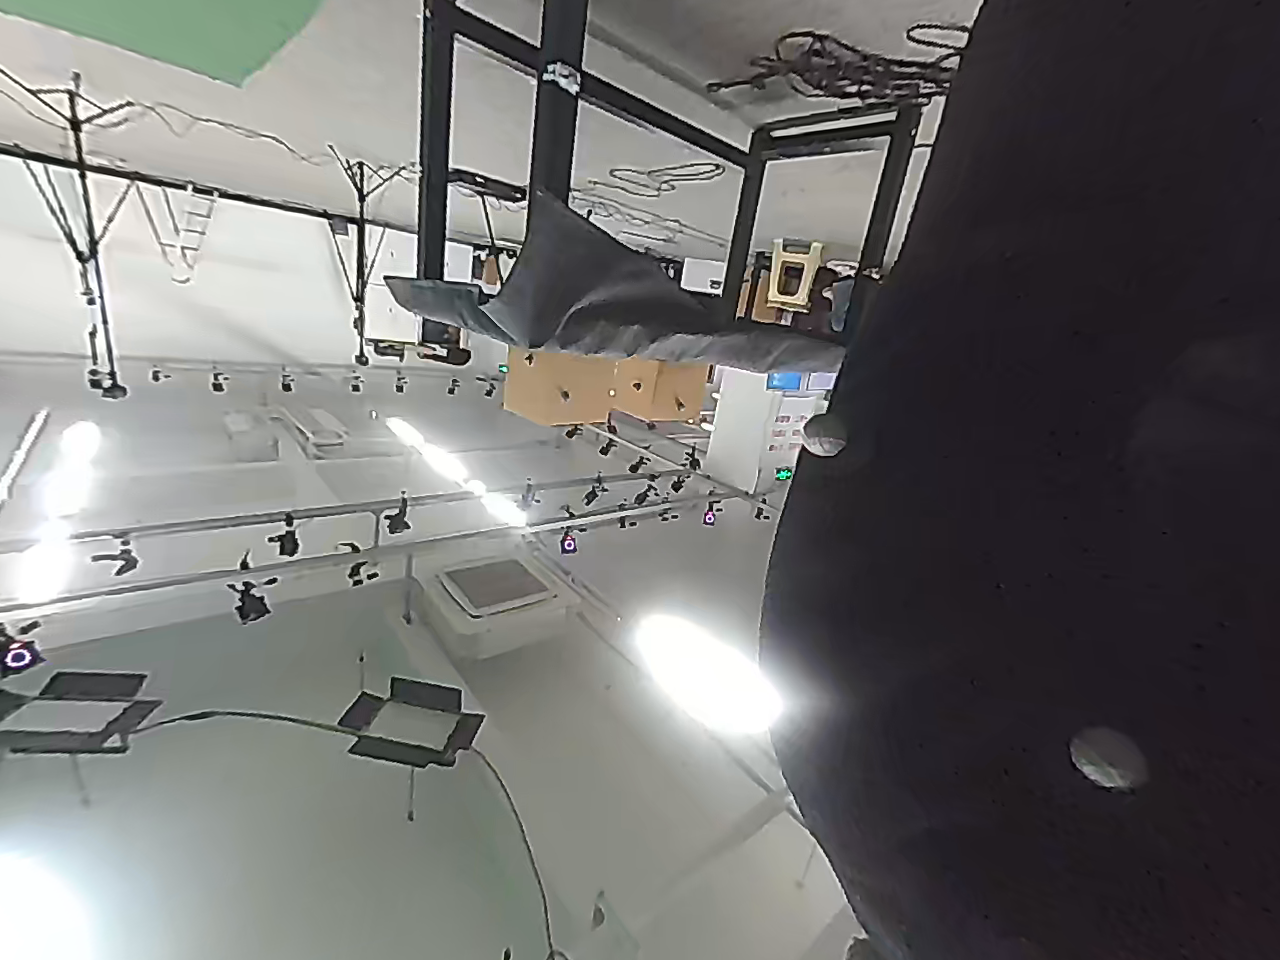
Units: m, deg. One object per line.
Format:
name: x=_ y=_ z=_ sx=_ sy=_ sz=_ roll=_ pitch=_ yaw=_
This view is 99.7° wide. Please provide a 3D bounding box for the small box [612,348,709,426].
small box: x=0.052 y=-0.241 z=1.384 sx=0.179 sy=0.176 sz=0.168 roll=-6 pitch=-157 yaw=-38
